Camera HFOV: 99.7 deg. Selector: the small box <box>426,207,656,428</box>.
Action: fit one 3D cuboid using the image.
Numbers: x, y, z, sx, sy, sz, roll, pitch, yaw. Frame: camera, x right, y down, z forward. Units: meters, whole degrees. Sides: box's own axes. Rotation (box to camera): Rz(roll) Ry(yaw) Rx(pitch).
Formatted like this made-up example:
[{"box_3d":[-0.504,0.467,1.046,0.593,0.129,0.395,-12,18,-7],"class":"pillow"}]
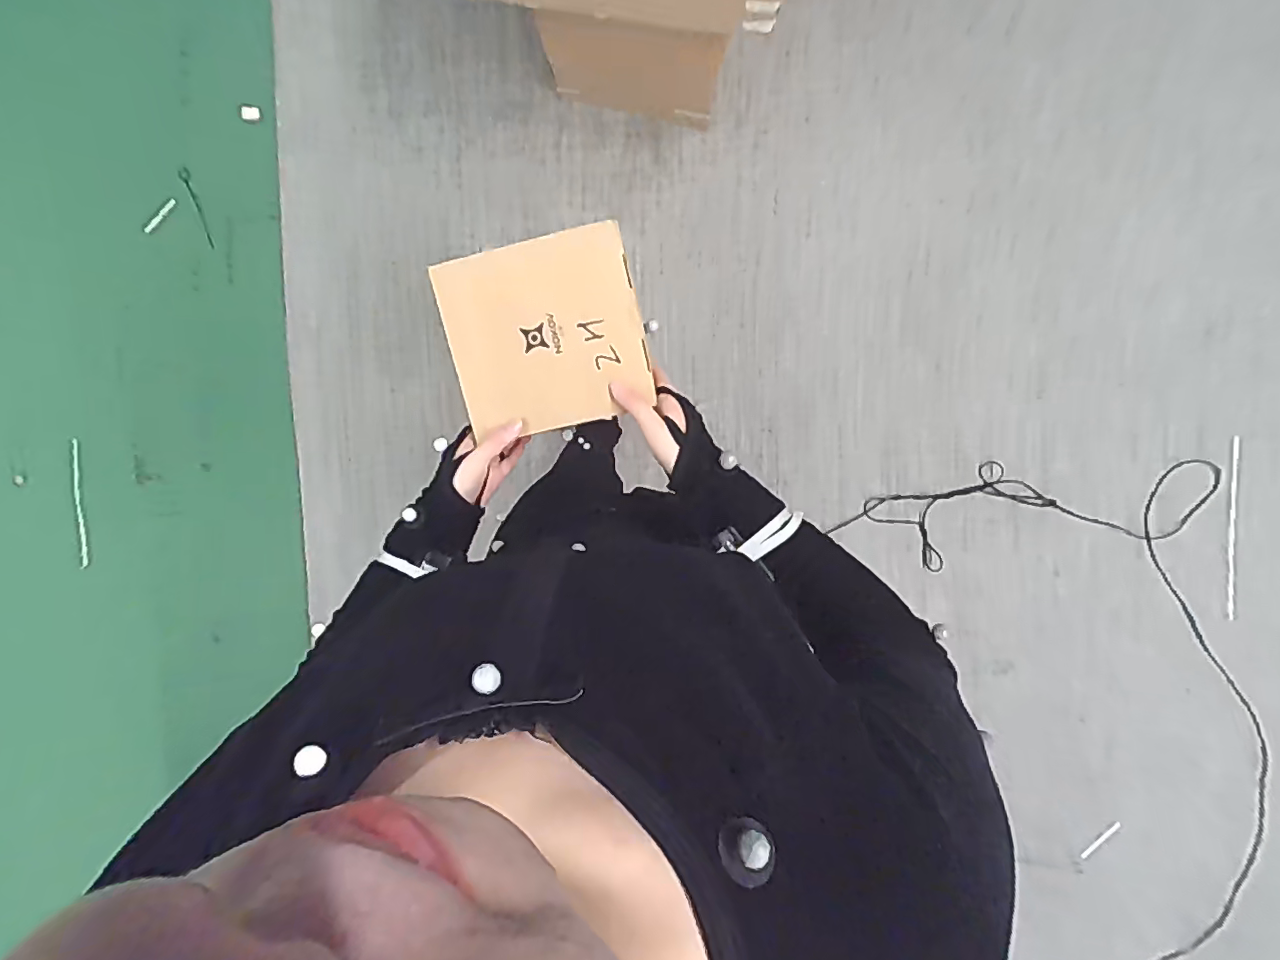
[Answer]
[{"box_3d":[-0.086,-0.156,0.563,0.179,0.176,0.168,-12,101,6],"class":"small box"}]
